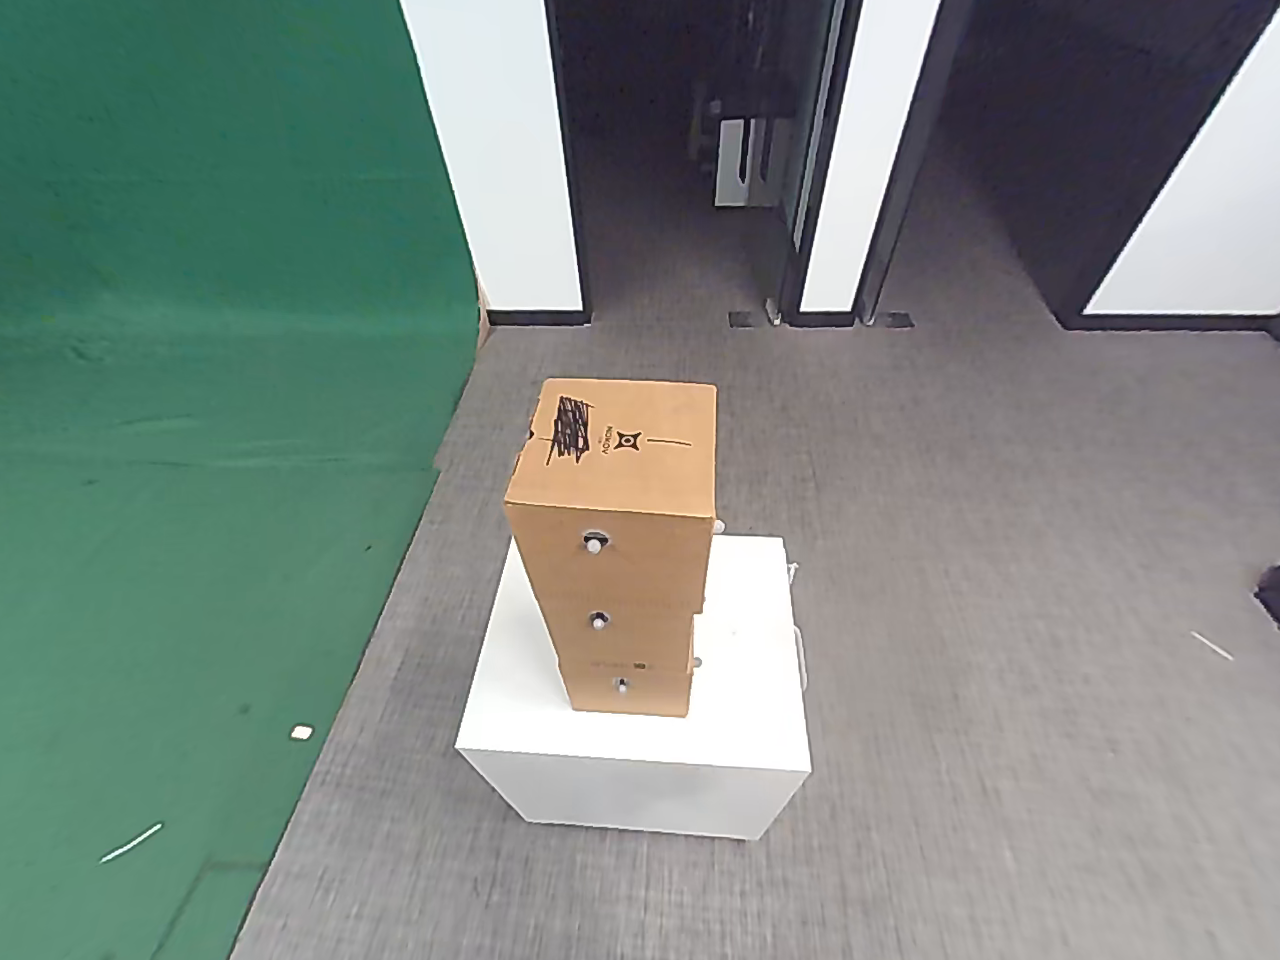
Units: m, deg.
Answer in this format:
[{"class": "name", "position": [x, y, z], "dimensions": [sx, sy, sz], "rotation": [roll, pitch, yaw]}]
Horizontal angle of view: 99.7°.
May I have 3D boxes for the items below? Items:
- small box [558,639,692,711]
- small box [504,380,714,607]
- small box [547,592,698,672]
[{"class": "small box", "position": [-0.012, 0.232, 0.806], "dimensions": [0.179, 0.176, 0.168], "rotation": [2, 49, 4]}, {"class": "small box", "position": [-0.018, 0.016, 0.559], "dimensions": [0.179, 0.176, 0.168], "rotation": [4, 49, 5]}, {"class": "small box", "position": [-0.014, 0.123, 0.688], "dimensions": [0.168, 0.176, 0.179], "rotation": [1, 49, 3]}]
